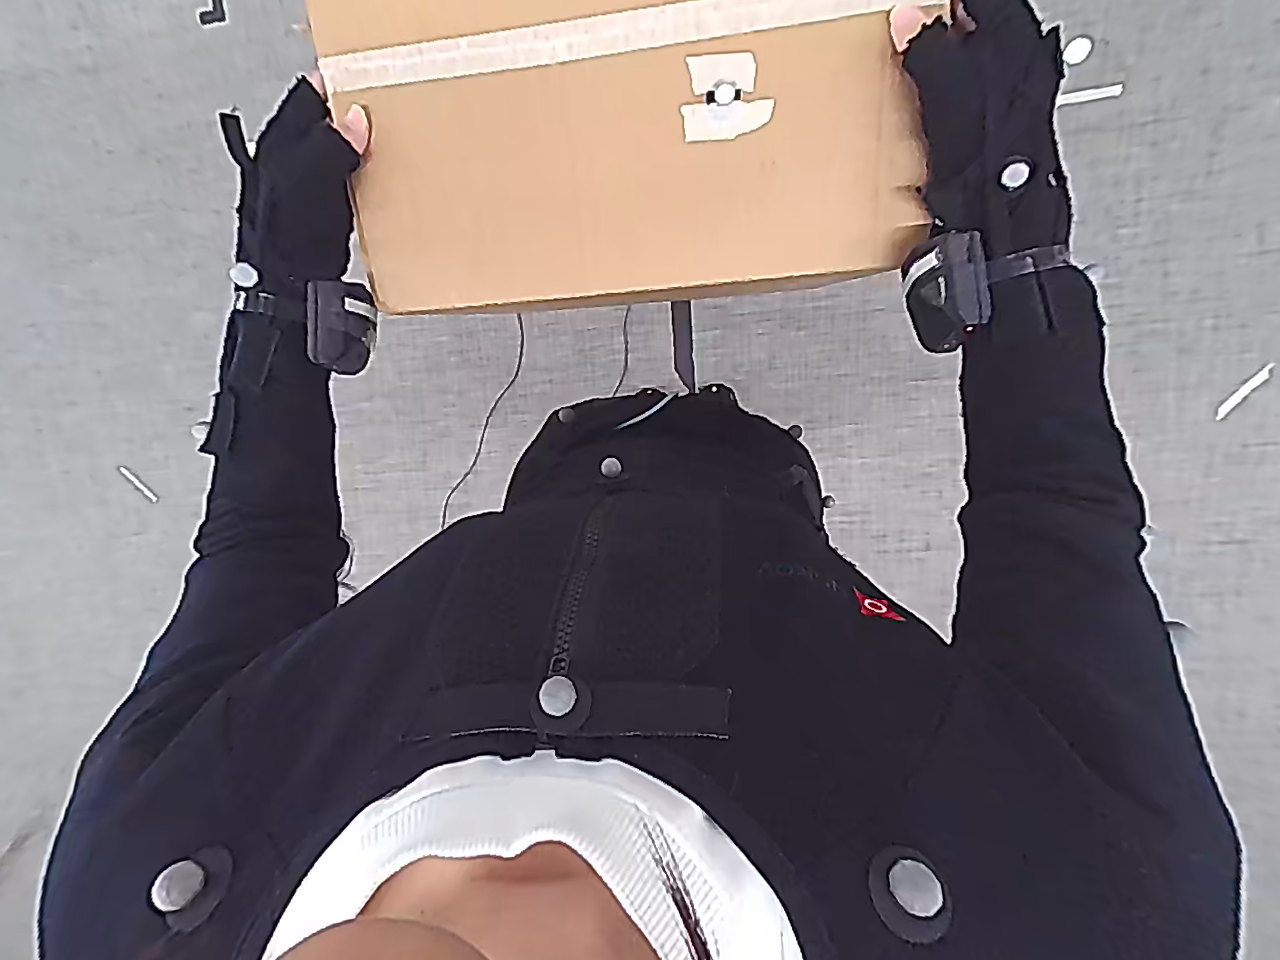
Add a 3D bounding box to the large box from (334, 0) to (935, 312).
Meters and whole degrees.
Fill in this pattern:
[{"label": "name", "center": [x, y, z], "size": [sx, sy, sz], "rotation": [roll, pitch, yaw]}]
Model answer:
[{"label": "large box", "center": [0.001, -0.338, 0.504], "size": [0.408, 0.320, 0.320], "rotation": [-4, 107, 6]}]
